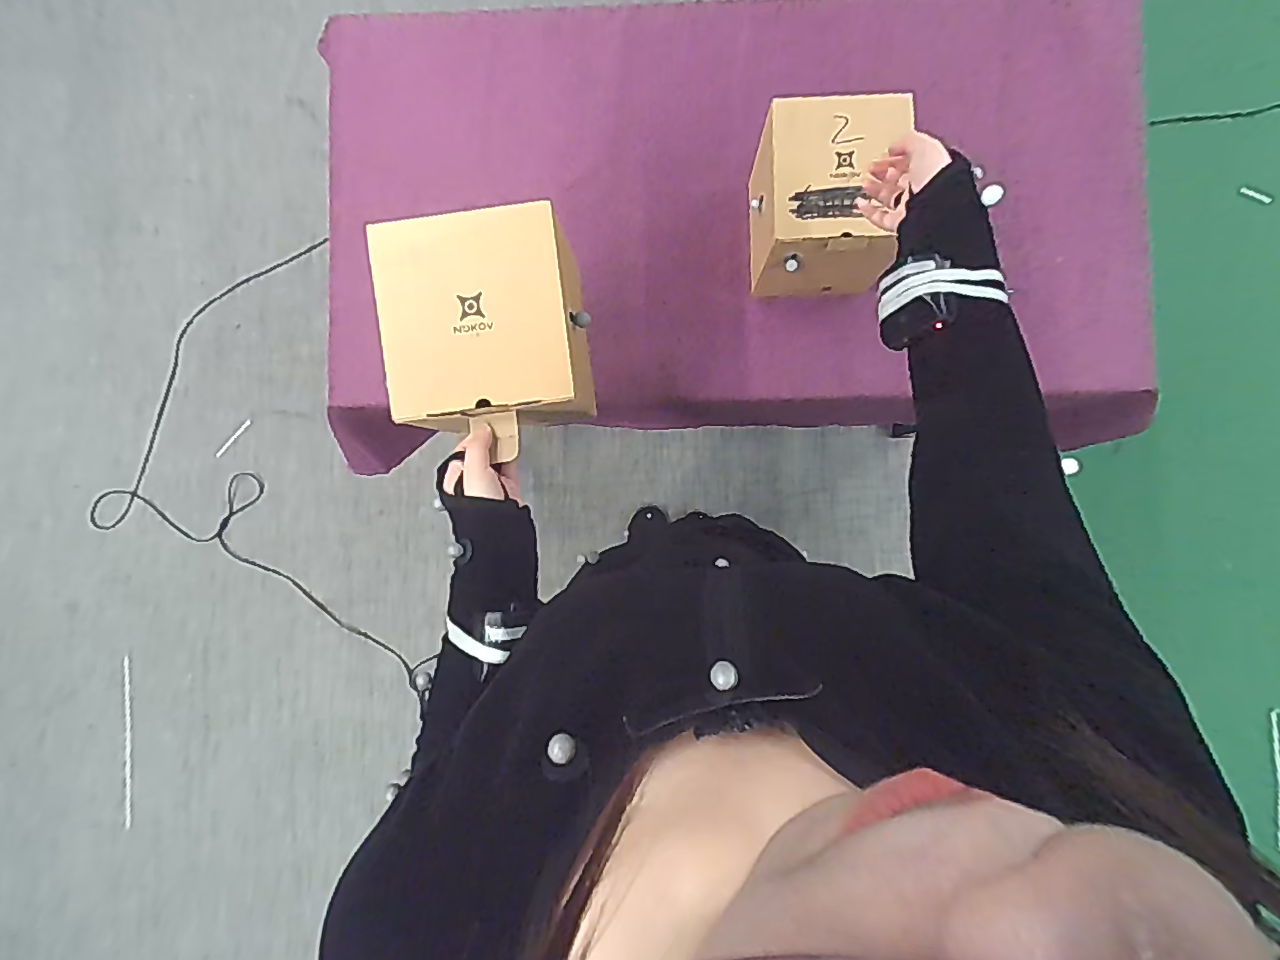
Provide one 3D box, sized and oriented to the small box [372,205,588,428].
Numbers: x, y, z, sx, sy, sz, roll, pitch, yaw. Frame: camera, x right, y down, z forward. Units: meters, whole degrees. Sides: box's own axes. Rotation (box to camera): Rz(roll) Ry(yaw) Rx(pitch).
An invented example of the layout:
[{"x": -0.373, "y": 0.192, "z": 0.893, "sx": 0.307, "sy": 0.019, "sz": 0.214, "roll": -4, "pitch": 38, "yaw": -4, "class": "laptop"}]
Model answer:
[{"x": -0.151, "y": -0.155, "z": 0.567, "sx": 0.168, "sy": 0.176, "sz": 0.179, "roll": -7, "pitch": 92, "yaw": 1, "class": "small box"}]
